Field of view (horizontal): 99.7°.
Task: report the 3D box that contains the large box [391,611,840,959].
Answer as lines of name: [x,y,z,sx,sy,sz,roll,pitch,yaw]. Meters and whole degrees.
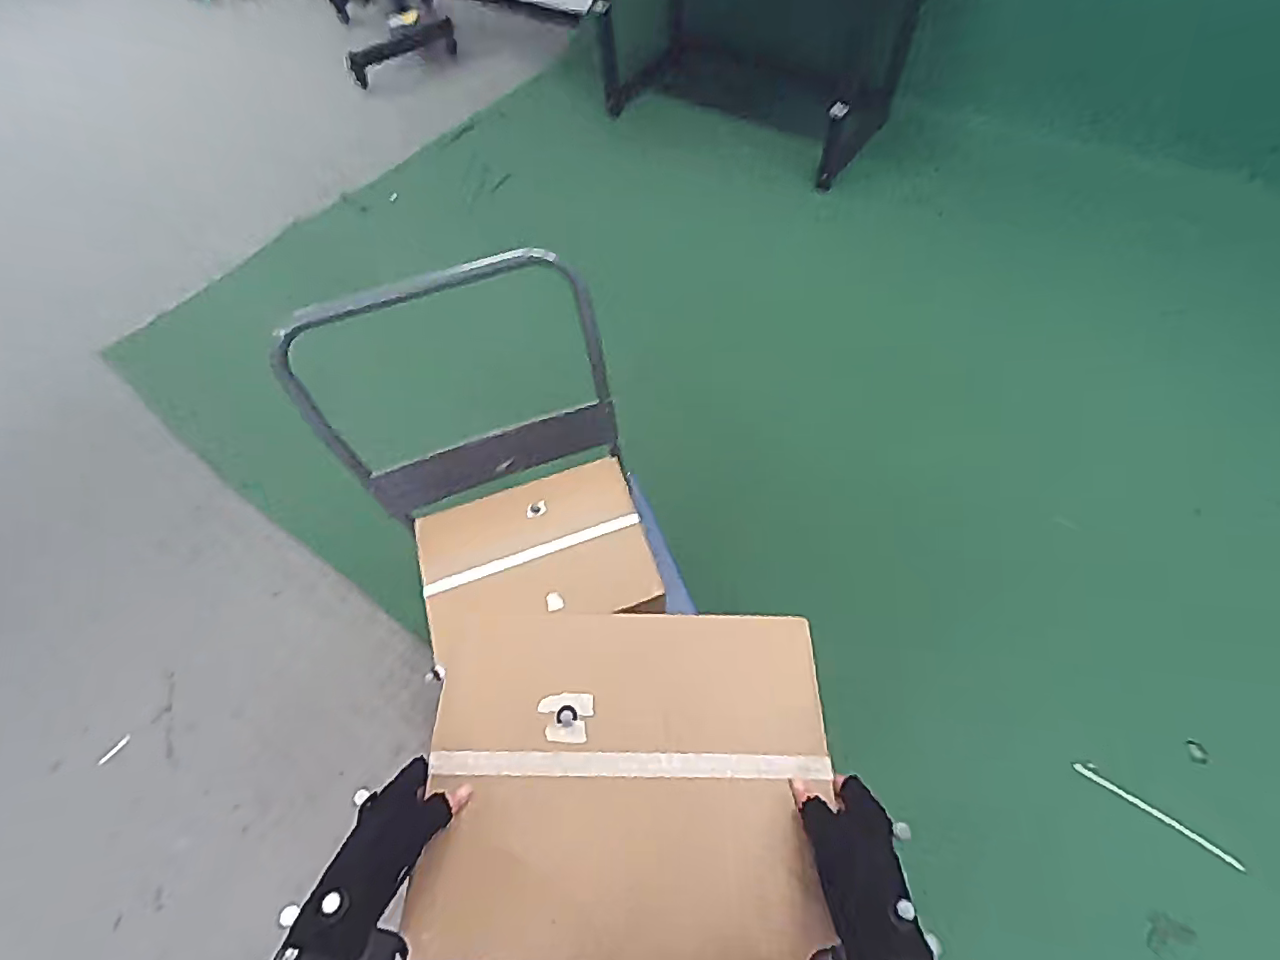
large box: [-0.015,0.358,0.673,0.408,0.320,0.320,1,60,2]
